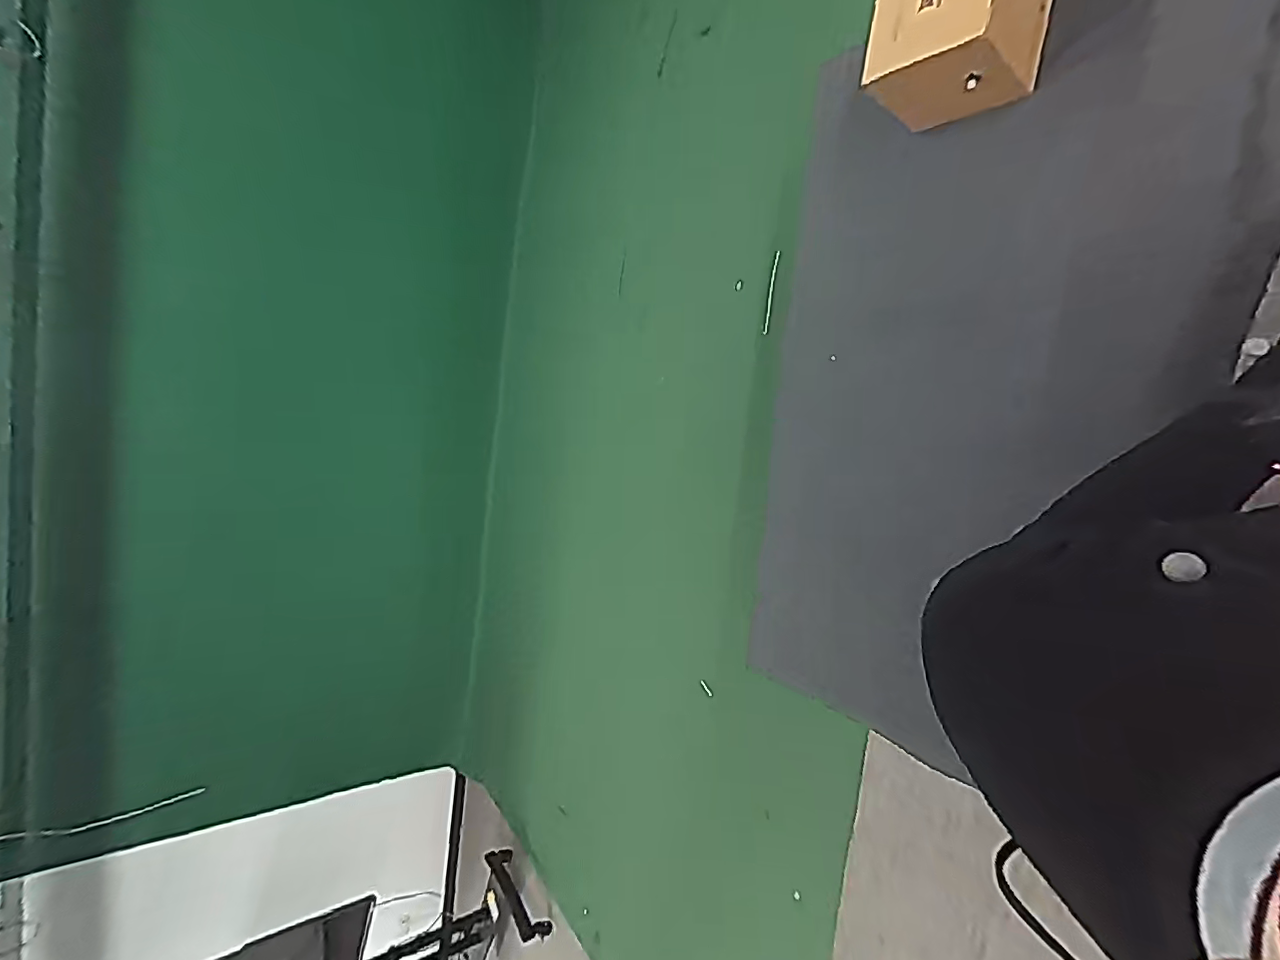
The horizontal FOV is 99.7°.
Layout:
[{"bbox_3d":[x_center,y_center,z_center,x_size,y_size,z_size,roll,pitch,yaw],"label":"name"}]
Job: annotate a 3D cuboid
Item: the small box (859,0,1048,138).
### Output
[{"bbox_3d":[0.459,-0.643,0.792,0.179,0.176,0.168,17,99,53],"label":"small box"}]
